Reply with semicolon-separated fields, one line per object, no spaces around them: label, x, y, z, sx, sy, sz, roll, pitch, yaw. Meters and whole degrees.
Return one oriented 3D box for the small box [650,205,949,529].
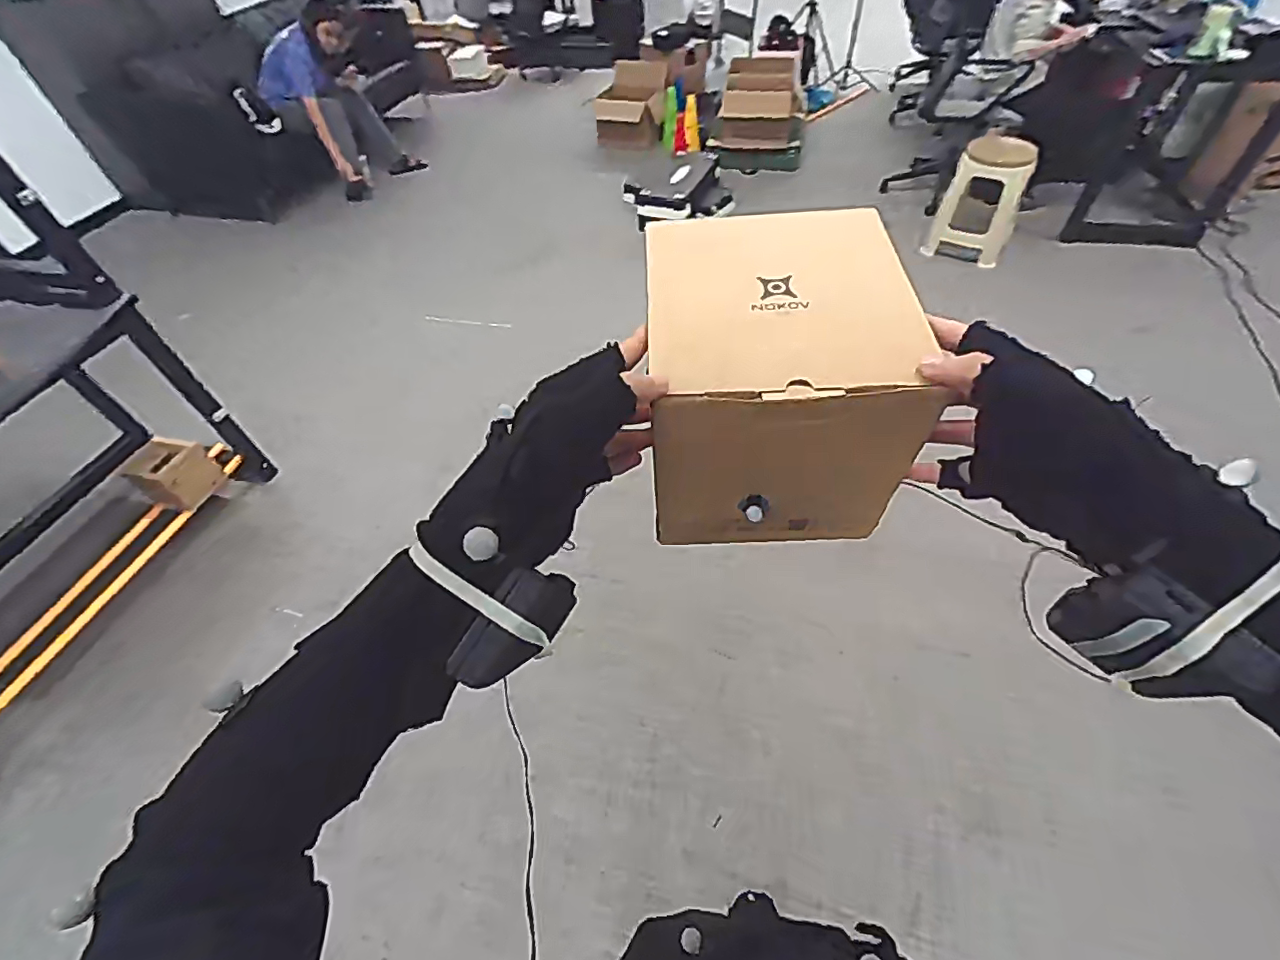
small box;0.091;-0.080;0.412;0.168;0.176;0.179;-3;55;2
